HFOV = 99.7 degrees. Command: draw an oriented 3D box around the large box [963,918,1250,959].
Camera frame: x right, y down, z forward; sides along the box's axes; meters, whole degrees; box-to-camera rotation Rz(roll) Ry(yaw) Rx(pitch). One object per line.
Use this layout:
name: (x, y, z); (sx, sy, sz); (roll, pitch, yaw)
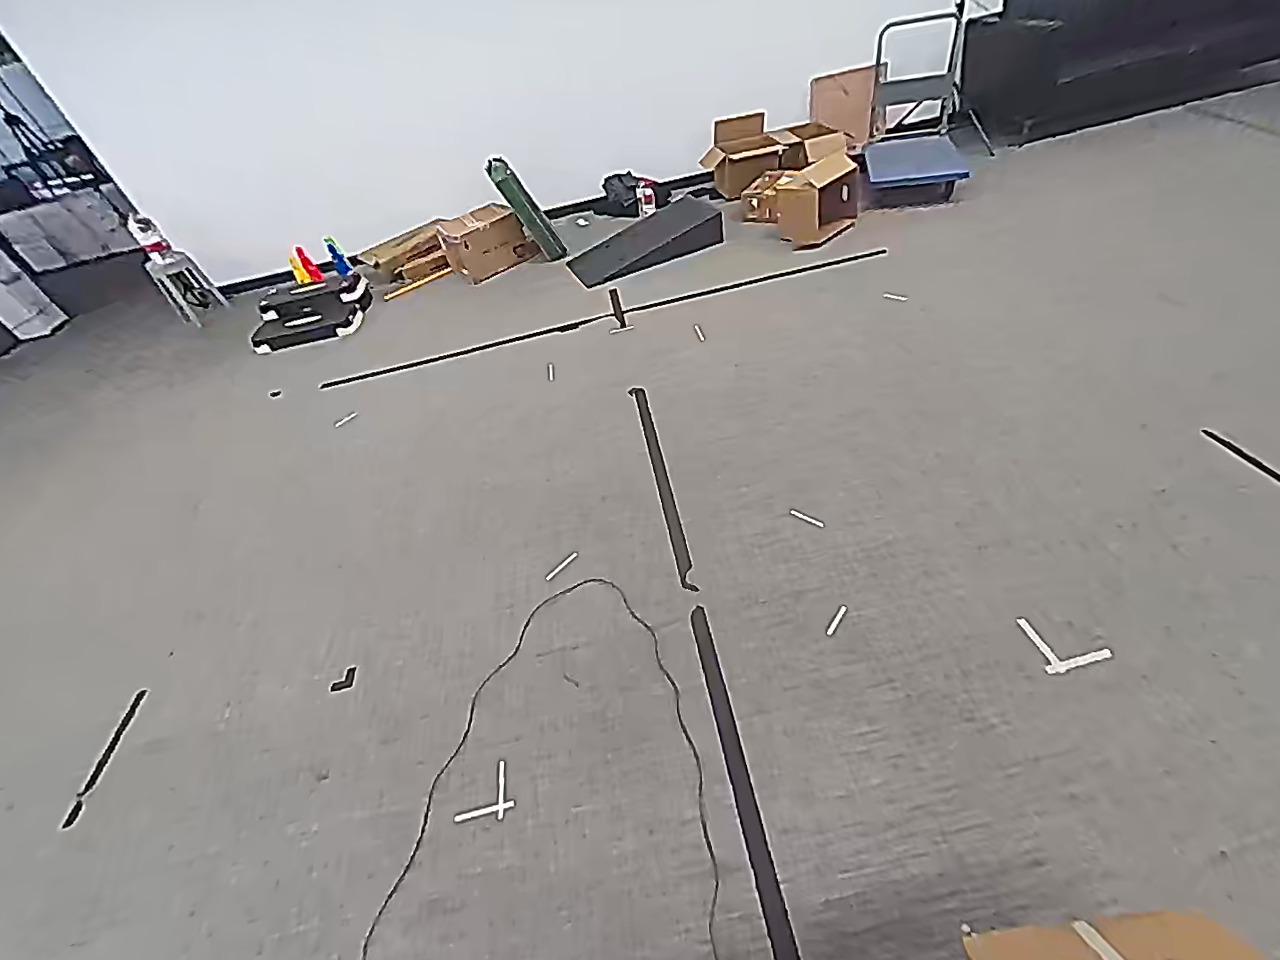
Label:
large box: (0.607, 0.739, 0.535); (0.320, 0.408, 0.320); (-13, 76, 8)
